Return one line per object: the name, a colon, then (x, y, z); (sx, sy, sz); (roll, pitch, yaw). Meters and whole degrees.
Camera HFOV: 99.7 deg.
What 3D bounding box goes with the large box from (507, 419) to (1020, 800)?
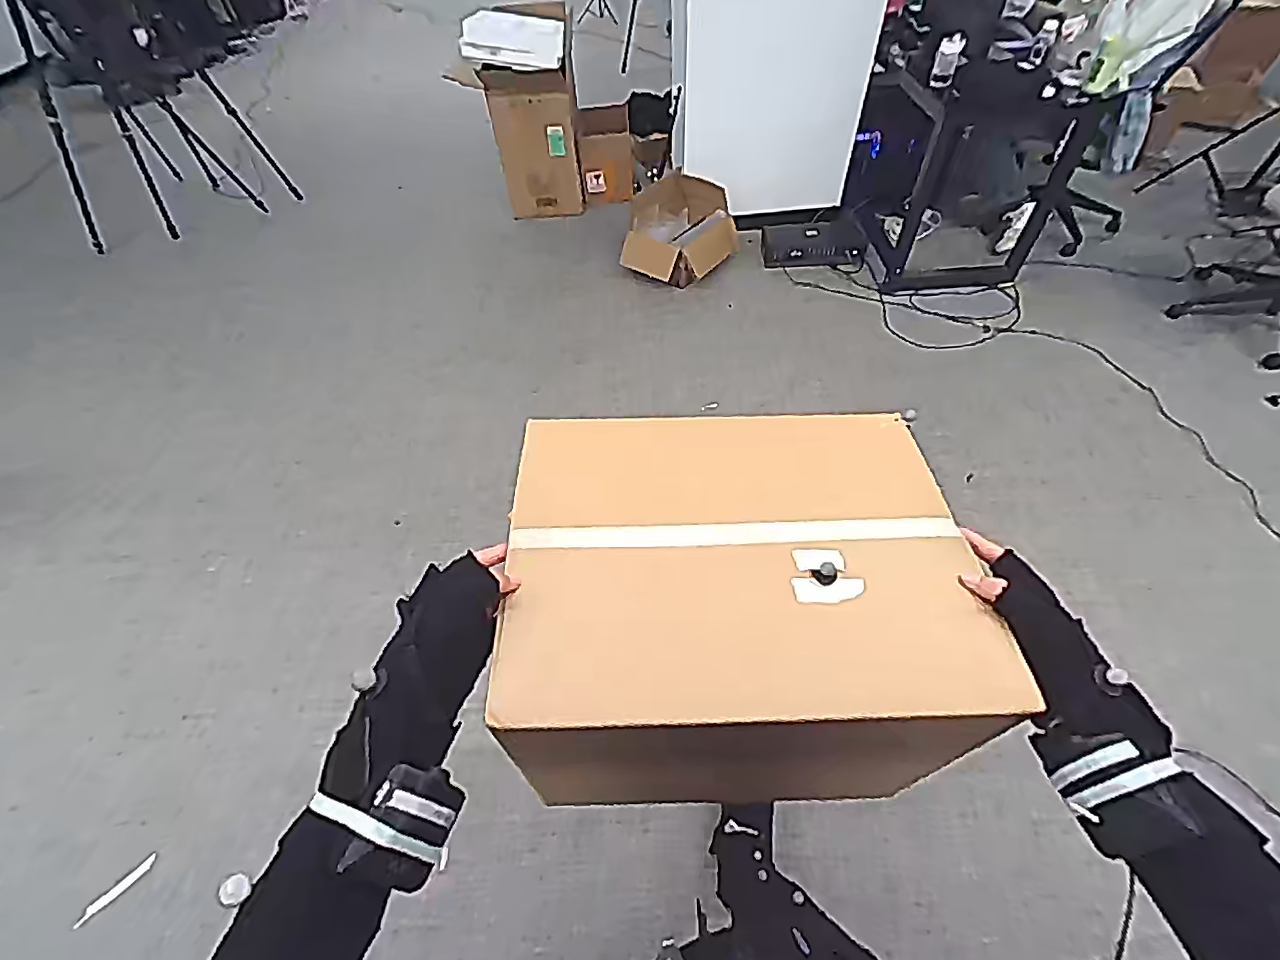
large box: (0.087, 0.150, 0.615); (0.408, 0.320, 0.320); (-1, 50, -2)
